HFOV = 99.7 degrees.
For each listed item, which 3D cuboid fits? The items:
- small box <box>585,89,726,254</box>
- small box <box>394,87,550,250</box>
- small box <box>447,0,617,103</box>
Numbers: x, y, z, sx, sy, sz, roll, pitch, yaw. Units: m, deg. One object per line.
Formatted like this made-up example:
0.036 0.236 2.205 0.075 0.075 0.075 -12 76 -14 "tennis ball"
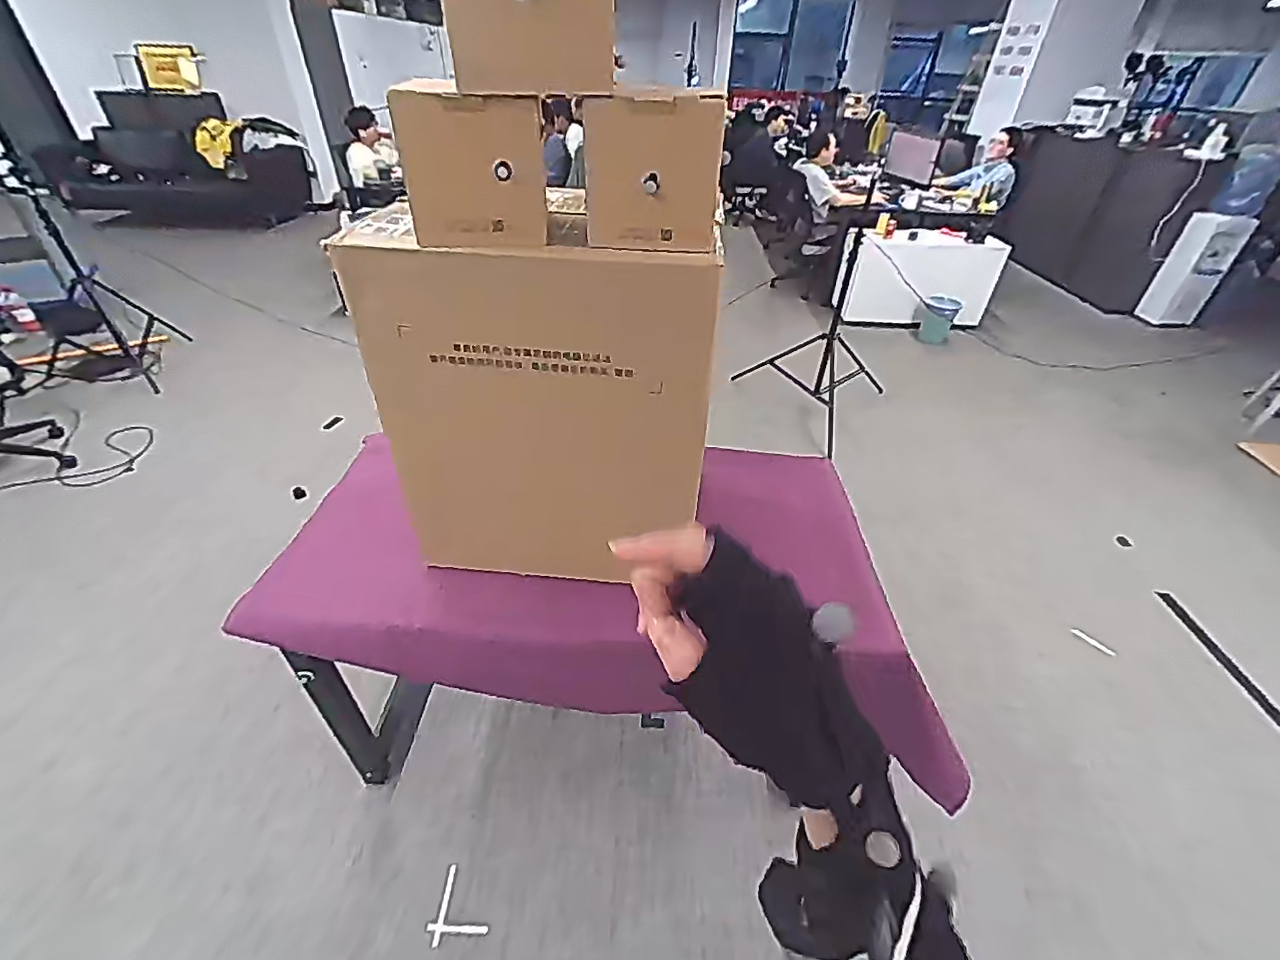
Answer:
0.025 -0.415 0.726 0.168 0.176 0.179 5 39 3 "small box"
-0.208 -0.416 0.724 0.168 0.176 0.179 -3 38 -8 "small box"
-0.114 -0.537 0.613 0.179 0.176 0.168 -2 39 -2 "small box"
